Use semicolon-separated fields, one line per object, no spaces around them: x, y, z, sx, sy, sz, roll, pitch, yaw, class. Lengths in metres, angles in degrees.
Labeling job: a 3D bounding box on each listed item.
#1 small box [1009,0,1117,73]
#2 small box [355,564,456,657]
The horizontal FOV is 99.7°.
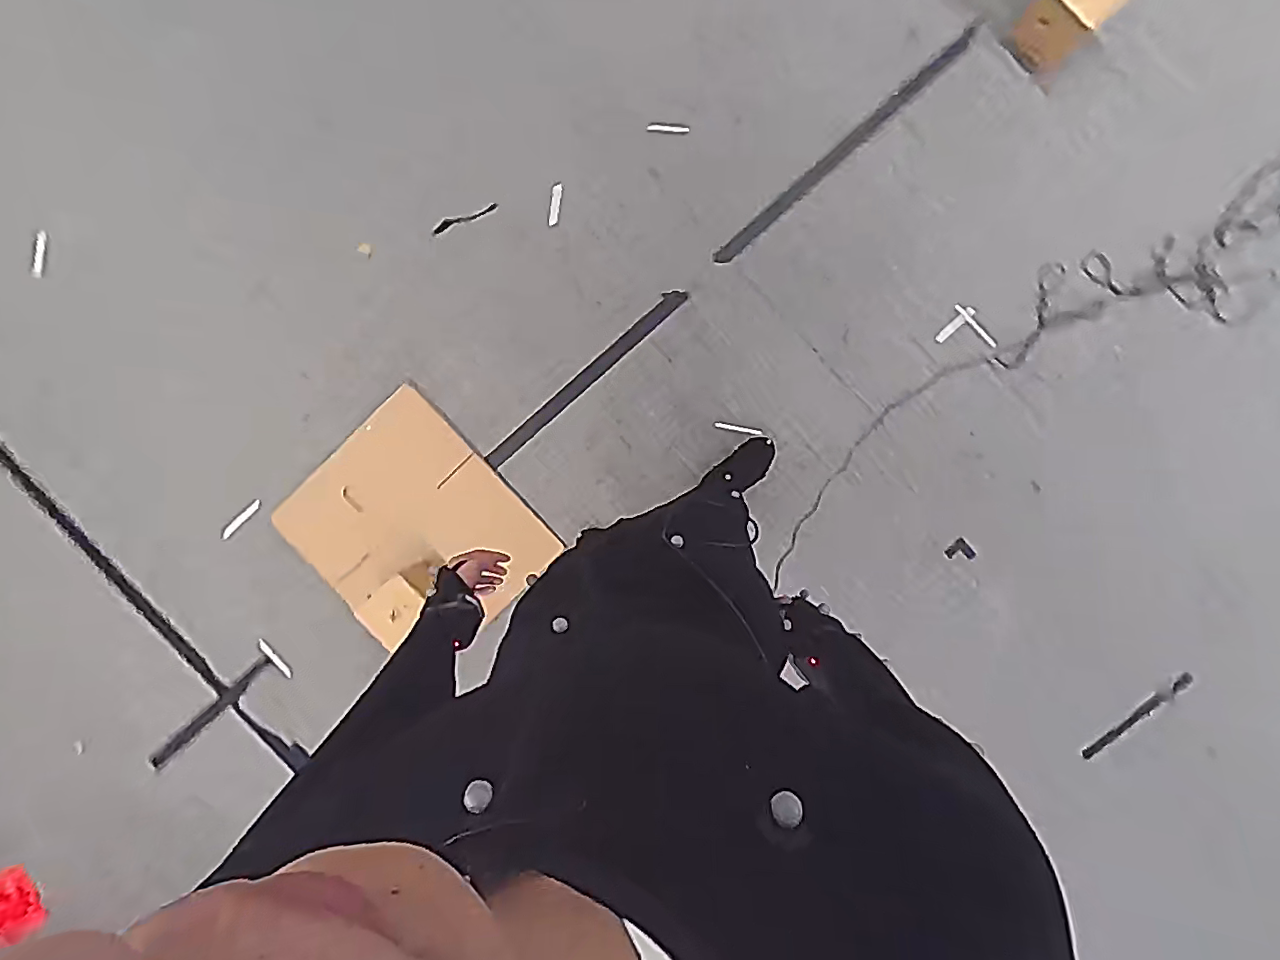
1.155;-1.277;1.473;0.179;0.176;0.168;-45;91;2;small box
-0.664;0.368;1.556;0.179;0.176;0.168;-44;92;2;small box
